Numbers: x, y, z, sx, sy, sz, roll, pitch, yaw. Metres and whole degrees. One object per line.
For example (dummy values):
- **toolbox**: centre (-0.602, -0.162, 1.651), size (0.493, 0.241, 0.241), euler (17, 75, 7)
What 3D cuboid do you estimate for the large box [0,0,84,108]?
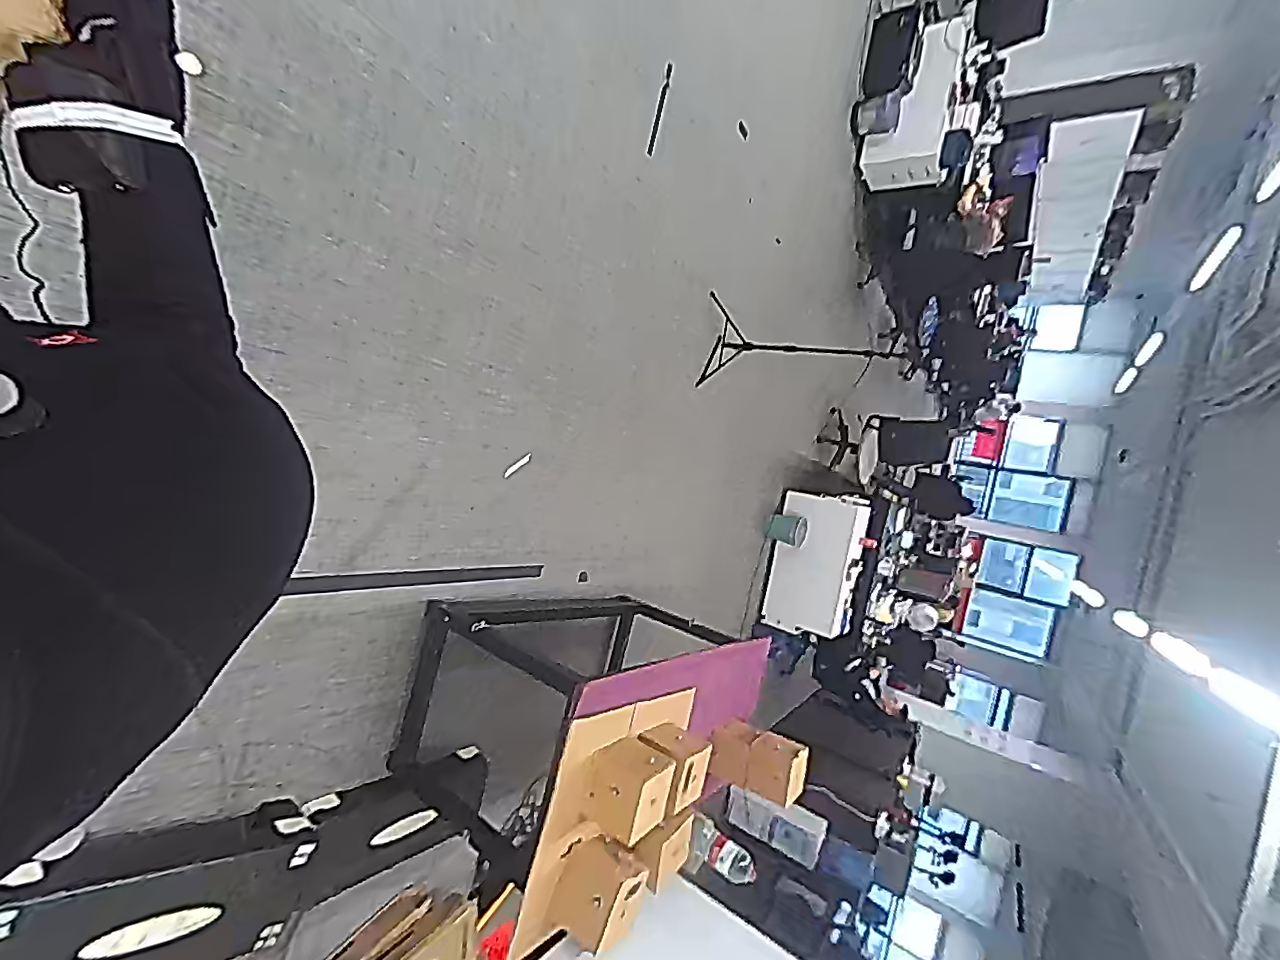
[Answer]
- **large box**: centre (-0.587, -0.387, 0.221), size (0.408, 0.320, 0.320), euler (-24, 128, -53)
